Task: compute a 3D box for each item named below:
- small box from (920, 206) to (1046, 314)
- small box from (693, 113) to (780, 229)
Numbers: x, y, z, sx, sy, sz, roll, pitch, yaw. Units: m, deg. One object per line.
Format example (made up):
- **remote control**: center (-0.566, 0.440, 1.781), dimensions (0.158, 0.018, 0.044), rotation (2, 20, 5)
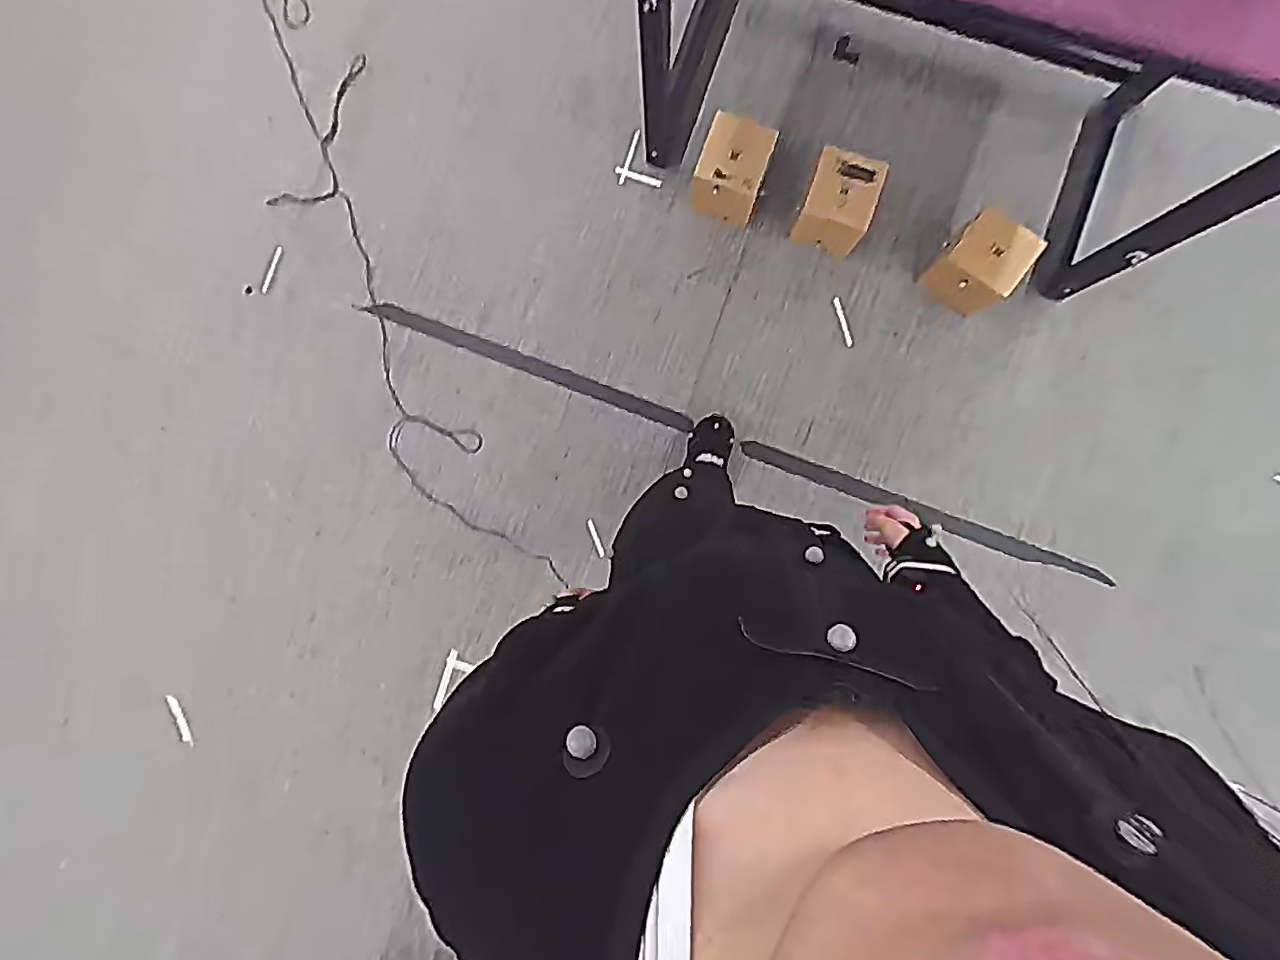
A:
- **small box**: center (0.867, -0.551, 1.385), dimensions (0.179, 0.176, 0.168), rotation (37, 92, 4)
- **small box**: center (0.243, -0.803, 1.419), dimensions (0.168, 0.176, 0.179), rotation (22, 89, 3)
